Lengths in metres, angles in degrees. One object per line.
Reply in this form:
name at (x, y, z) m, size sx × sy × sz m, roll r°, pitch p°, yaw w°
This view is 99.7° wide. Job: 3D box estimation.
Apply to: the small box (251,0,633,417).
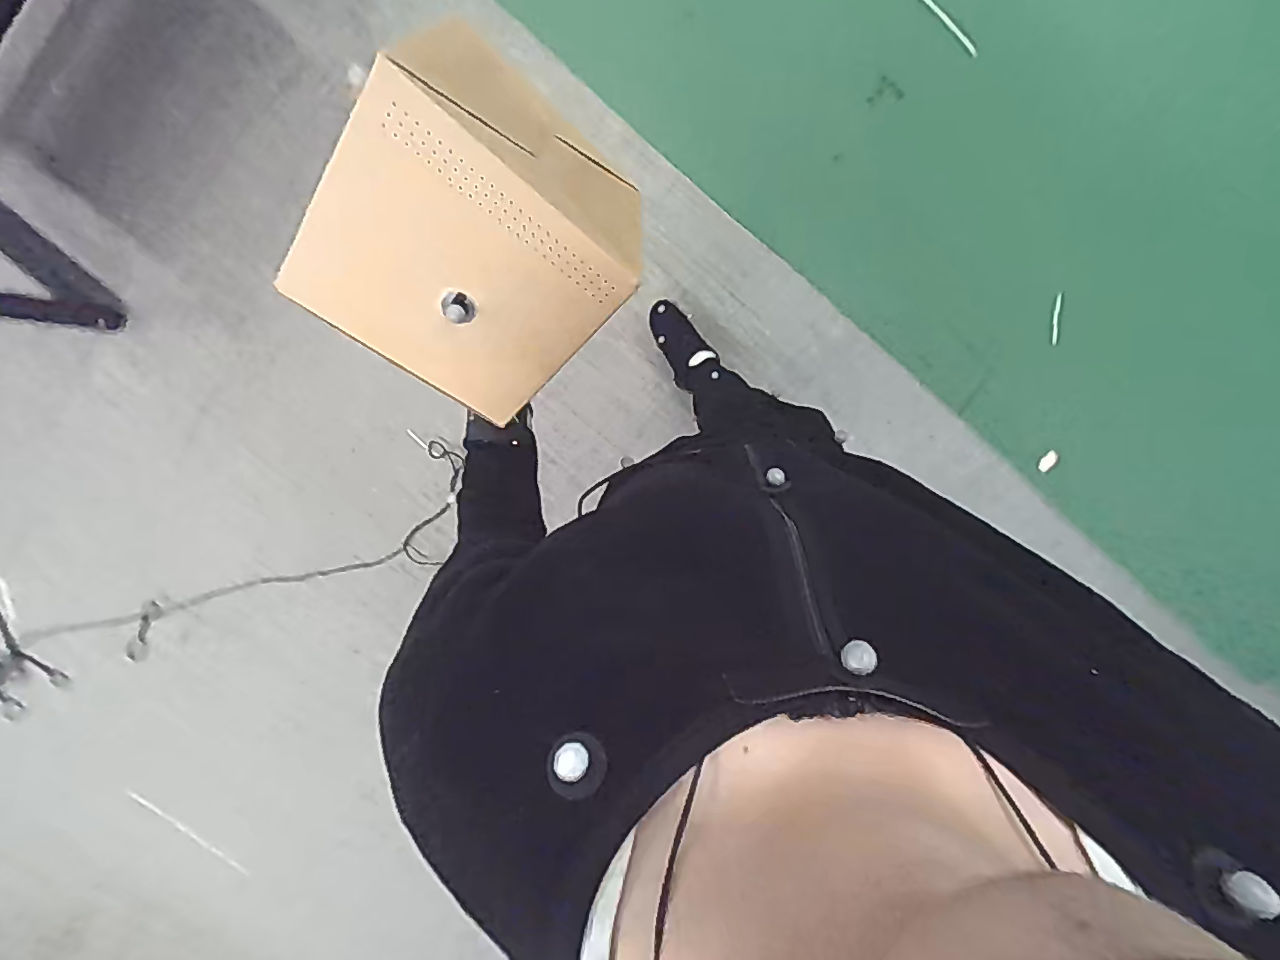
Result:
small box at (-0.125, -0.186, 0.387) m, size 0.179 × 0.168 × 0.176 m, roll 32°, pitch 128°, yaw -29°
